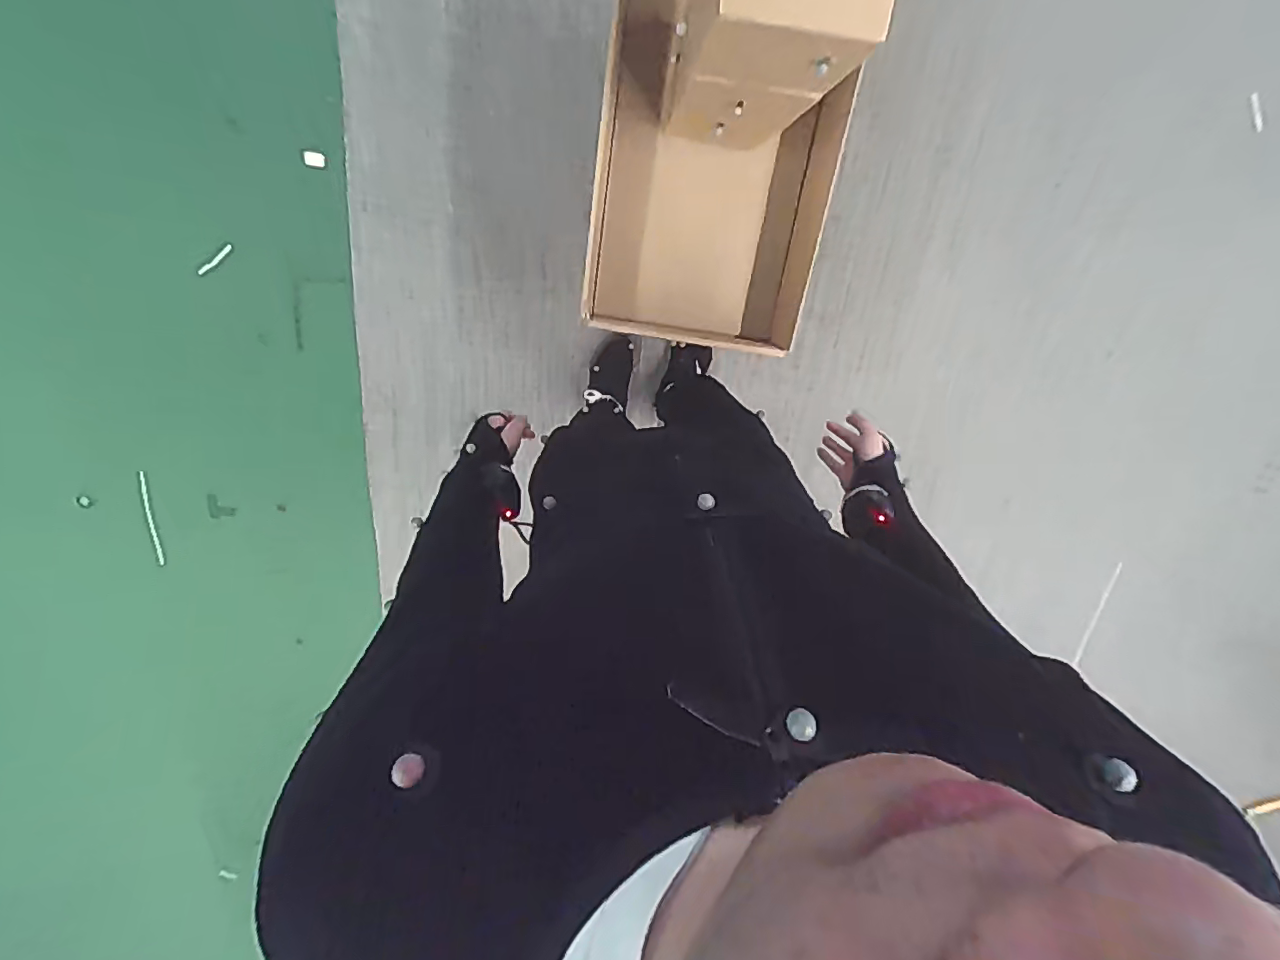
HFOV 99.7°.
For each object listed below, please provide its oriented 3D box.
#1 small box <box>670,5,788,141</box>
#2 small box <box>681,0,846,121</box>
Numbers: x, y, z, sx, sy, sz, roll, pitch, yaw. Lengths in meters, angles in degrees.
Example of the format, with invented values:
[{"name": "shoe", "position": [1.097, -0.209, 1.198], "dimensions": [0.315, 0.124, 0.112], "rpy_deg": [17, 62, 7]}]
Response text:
[{"name": "small box", "position": [0.153, -0.671, 0.880], "dimensions": [0.179, 0.176, 0.168], "rpy_deg": [7, 111, -5]}, {"name": "small box", "position": [0.160, -0.606, 0.729], "dimensions": [0.179, 0.176, 0.168], "rpy_deg": [6, 111, -4]}]
